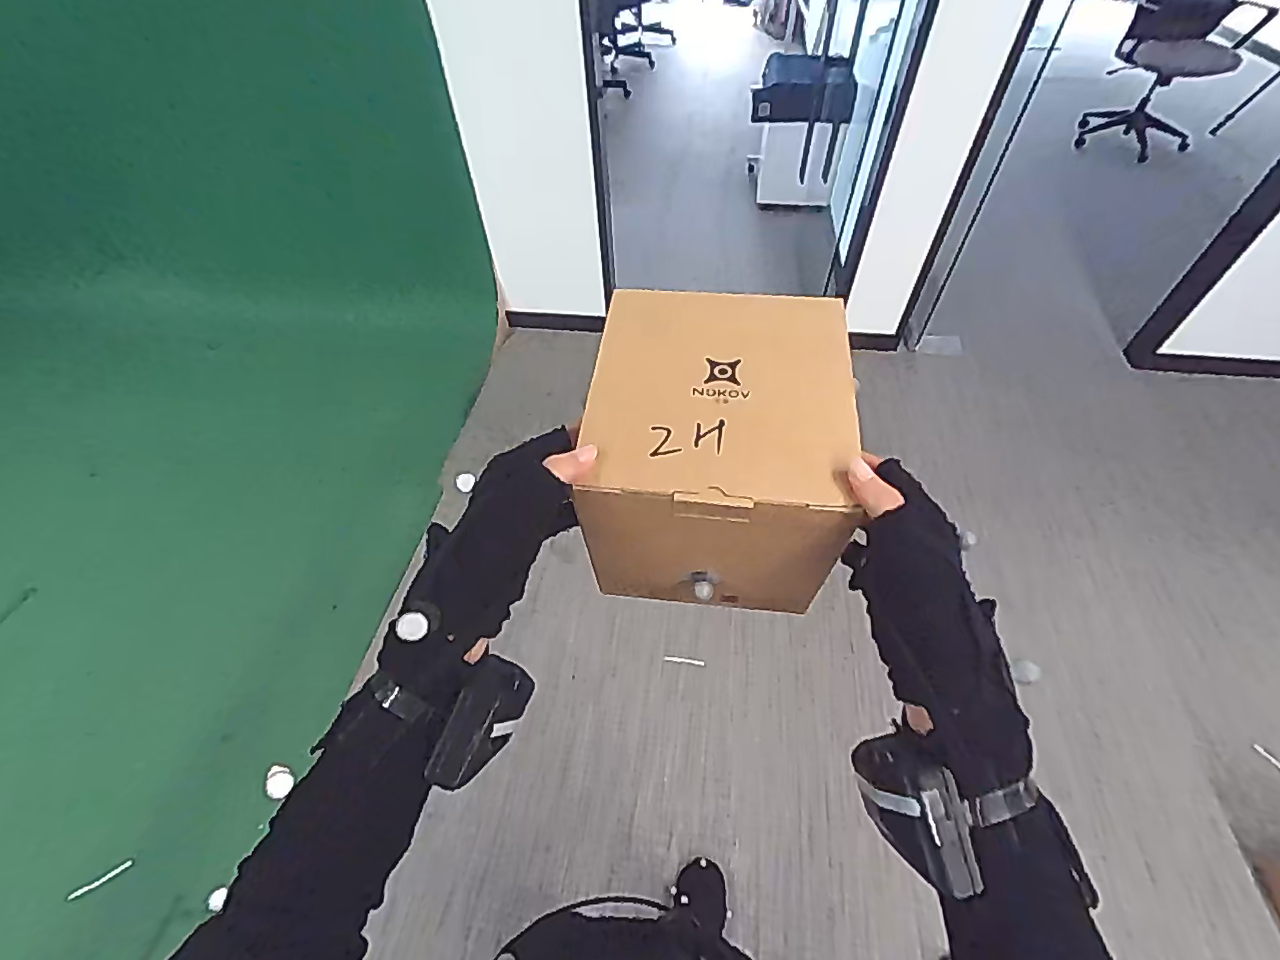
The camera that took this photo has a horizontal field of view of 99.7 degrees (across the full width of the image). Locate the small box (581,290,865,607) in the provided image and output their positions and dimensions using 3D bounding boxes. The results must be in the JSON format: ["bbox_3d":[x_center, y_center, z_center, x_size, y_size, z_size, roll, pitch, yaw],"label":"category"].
[{"bbox_3d":[0.060,-0.020,0.420,0.168,0.176,0.179,5,58,7],"label":"small box"}]
